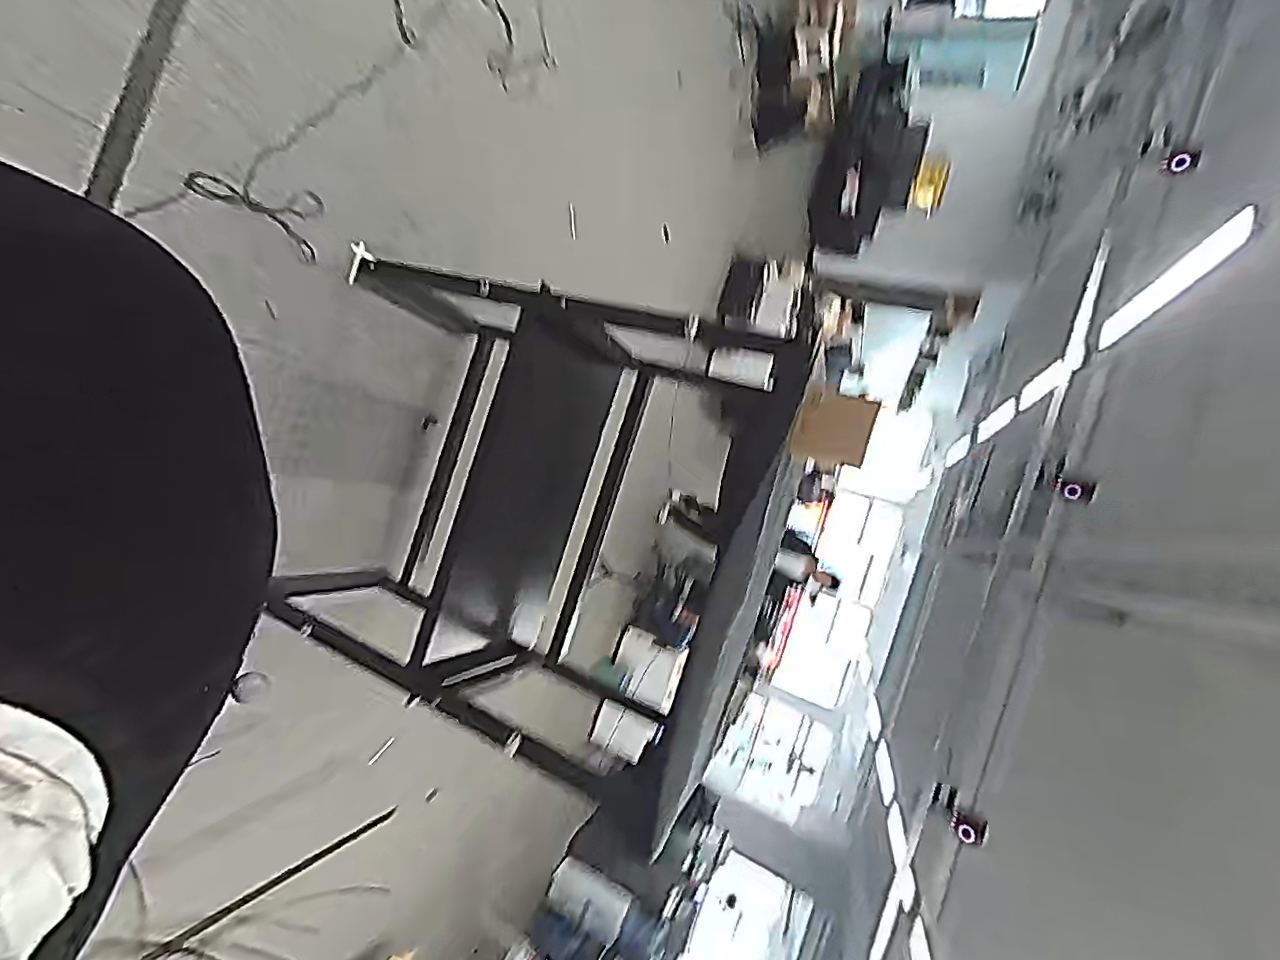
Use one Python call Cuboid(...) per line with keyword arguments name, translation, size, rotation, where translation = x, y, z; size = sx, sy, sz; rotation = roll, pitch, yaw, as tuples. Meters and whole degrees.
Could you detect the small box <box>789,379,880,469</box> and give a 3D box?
Cuboid(name="small box", translation=(0.465, -0.135, 1.304), size=(0.179, 0.176, 0.168), rotation=(12, 96, -69))
